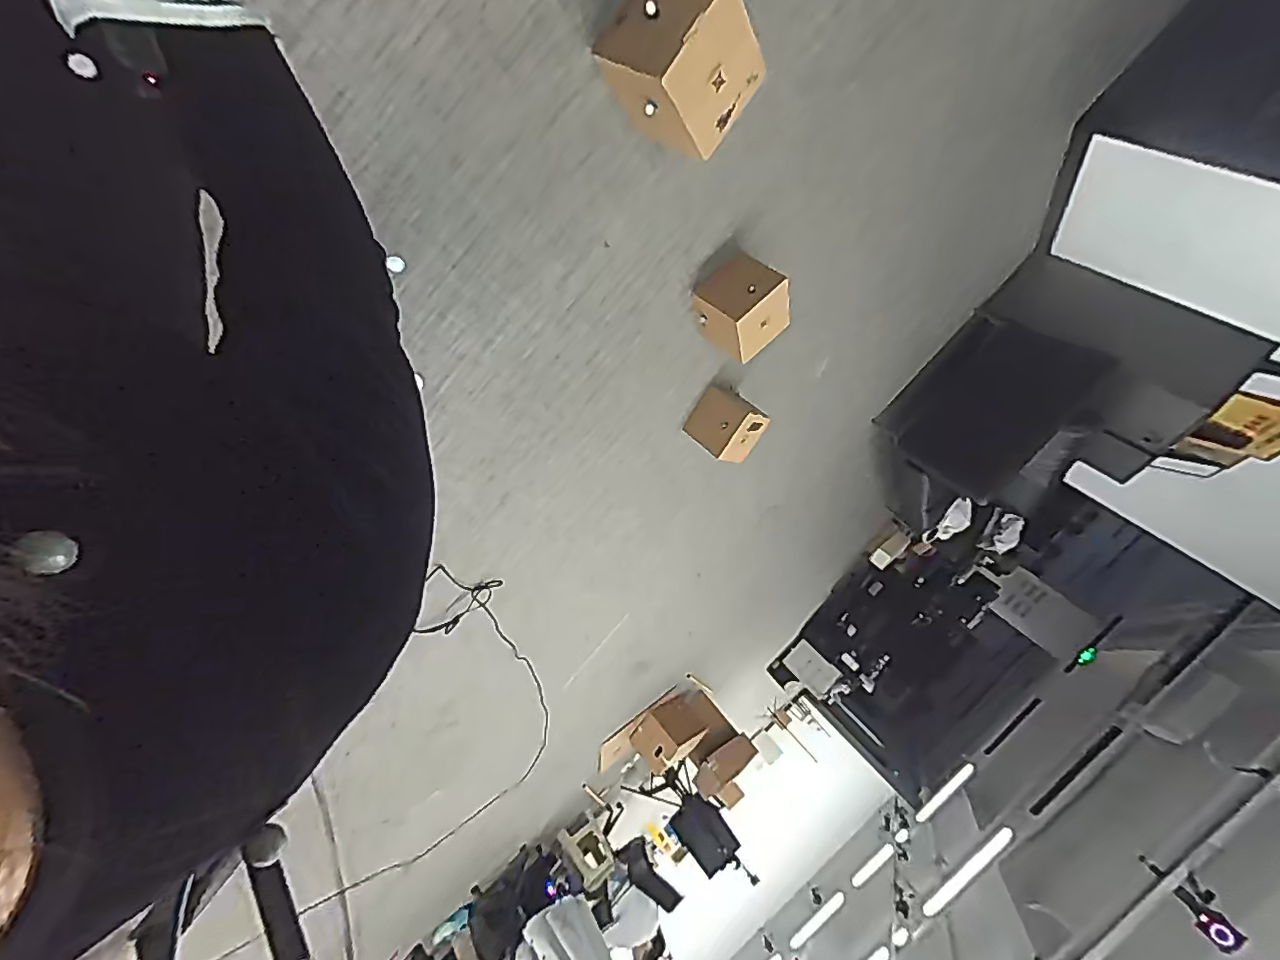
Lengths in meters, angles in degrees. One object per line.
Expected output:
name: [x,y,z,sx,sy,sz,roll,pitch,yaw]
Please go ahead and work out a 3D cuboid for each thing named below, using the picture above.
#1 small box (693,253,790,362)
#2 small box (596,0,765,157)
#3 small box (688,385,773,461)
small box: [0.262,-0.446,1.387,0.179,0.176,0.168,-42,150,-7]
small box: [0.062,-0.667,0.866,0.168,0.176,0.179,-52,149,11]
small box: [0.285,-0.183,1.729,0.168,0.176,0.179,3,125,-52]
